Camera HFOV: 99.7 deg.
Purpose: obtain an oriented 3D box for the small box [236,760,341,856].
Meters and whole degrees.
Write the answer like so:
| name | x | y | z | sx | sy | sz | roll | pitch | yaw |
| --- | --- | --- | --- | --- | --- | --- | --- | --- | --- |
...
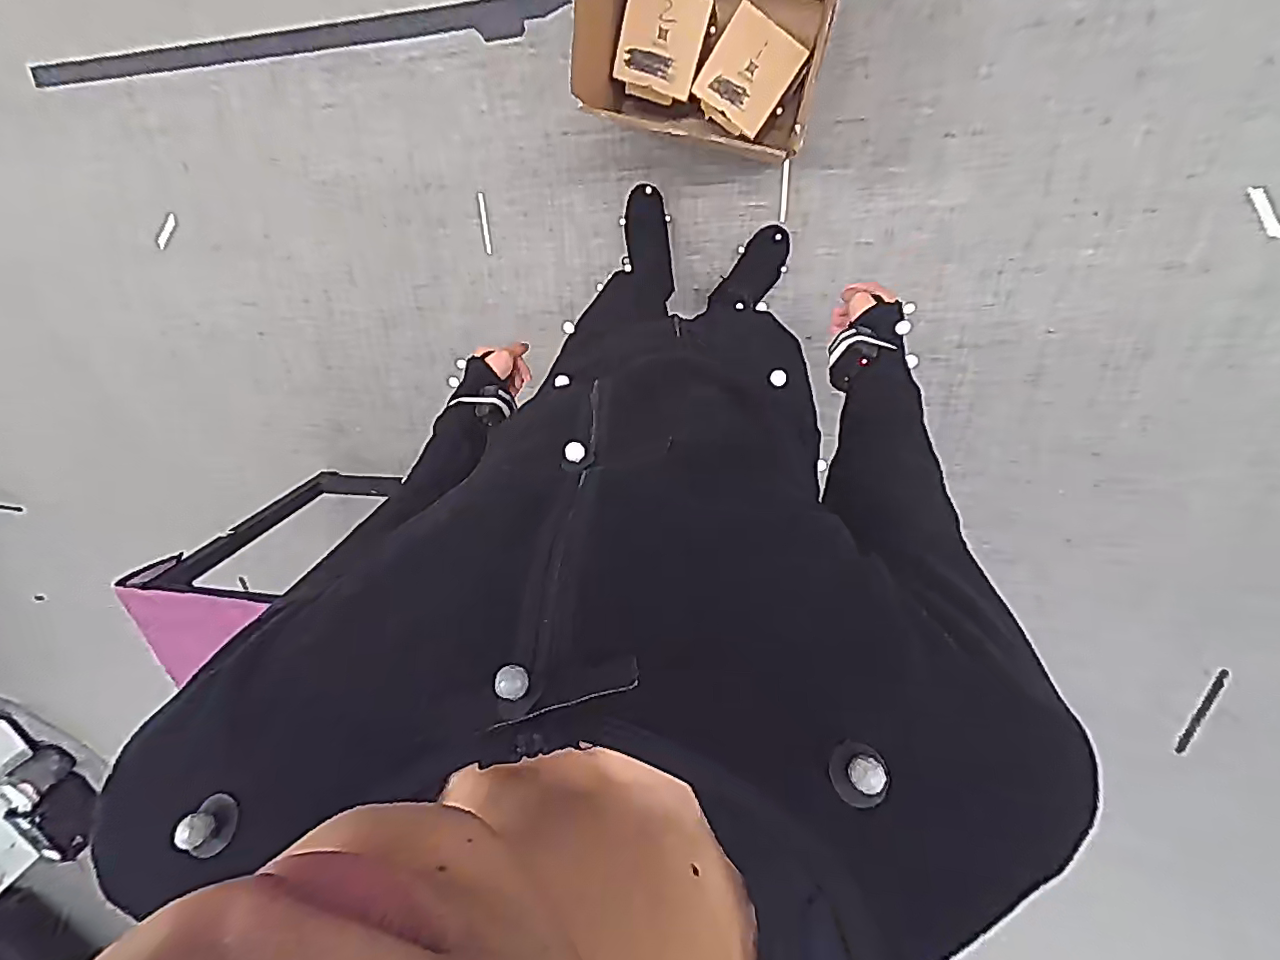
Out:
| name | x | y | z | sx | sy | sz | roll | pitch | yaw |
| --- | --- | --- | --- | --- | --- | --- | --- | --- | --- |
| small box | -1.003 | 0.944 | 1.568 | 0.179 | 0.176 | 0.168 | 1 | 117 | 13 |

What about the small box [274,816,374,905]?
| name | x | y | z | sx | sy | sz | roll | pitch | yaw |
| --- | --- | --- | --- | --- | --- | --- | --- | --- | --- |
| small box | -0.971 | 1.168 | 1.676 | 0.179 | 0.176 | 0.168 | -1 | 118 | 13 |
